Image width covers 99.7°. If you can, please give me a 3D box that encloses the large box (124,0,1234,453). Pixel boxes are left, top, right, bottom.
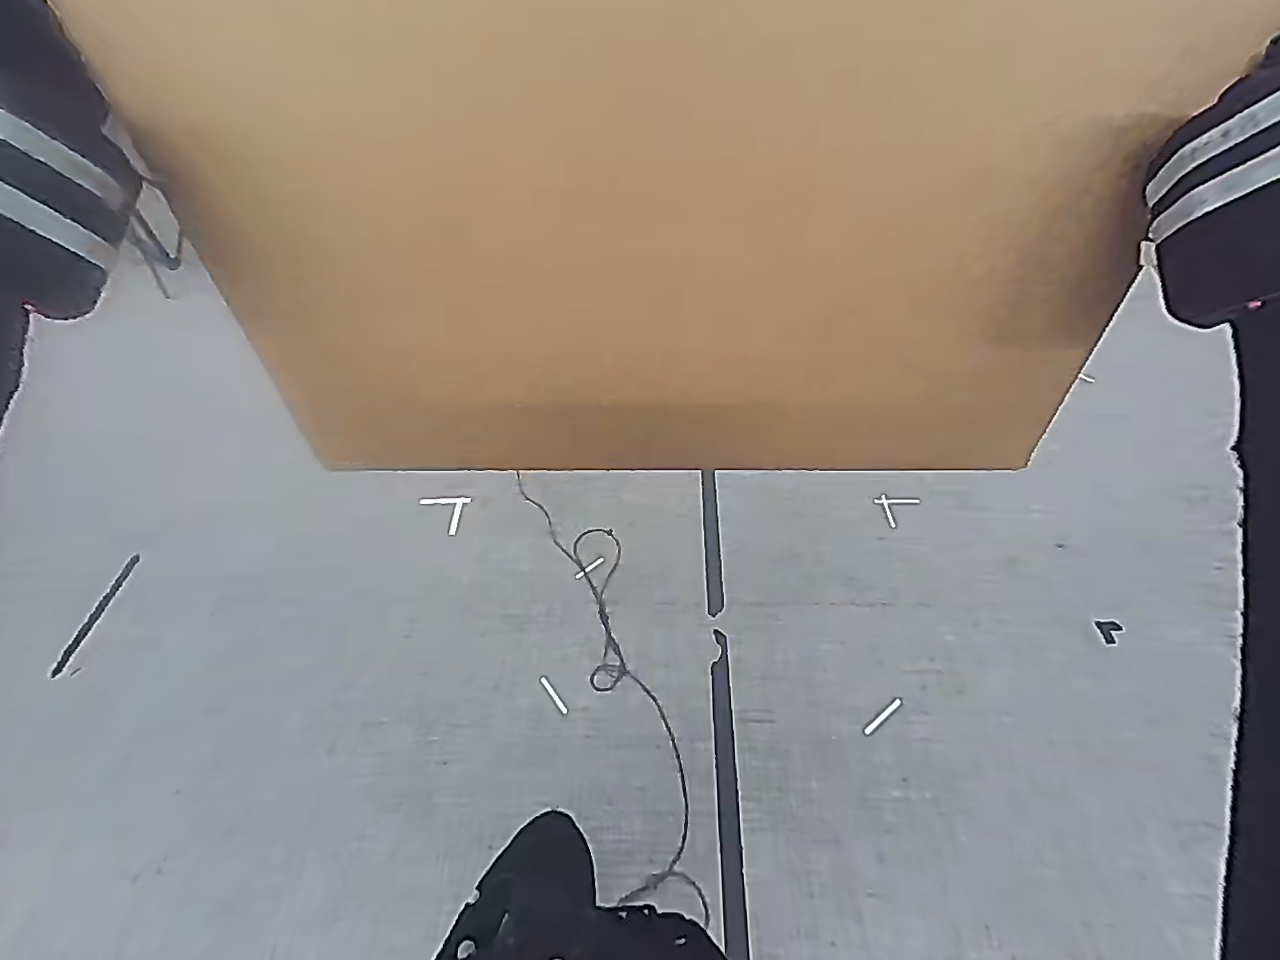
[{"bbox_3d":[0.014,-0.227,0.336,0.408,0.320,0.320,0,43,2],"label":"large box"}]
